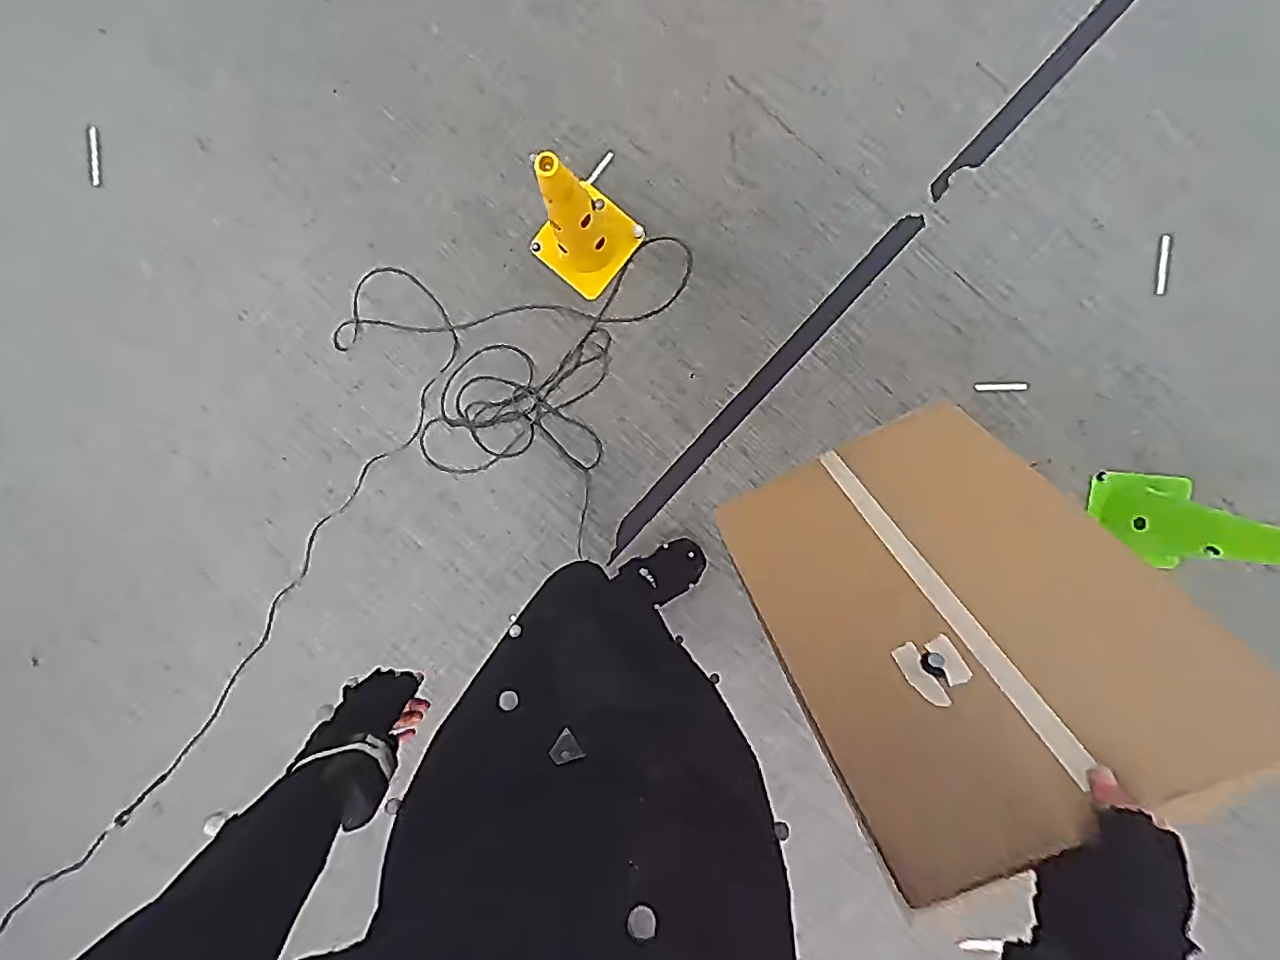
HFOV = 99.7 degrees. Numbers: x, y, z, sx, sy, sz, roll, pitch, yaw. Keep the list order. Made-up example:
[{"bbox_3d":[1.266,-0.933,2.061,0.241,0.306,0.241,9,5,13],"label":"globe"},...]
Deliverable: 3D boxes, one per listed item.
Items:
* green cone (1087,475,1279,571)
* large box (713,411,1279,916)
[{"bbox_3d":[1.060,0.110,0.997,0.202,0.368,0.200,4,96,4],"label":"green cone"},{"bbox_3d":[0.328,0.199,0.622,0.320,0.408,0.320,-26,135,4],"label":"large box"}]
